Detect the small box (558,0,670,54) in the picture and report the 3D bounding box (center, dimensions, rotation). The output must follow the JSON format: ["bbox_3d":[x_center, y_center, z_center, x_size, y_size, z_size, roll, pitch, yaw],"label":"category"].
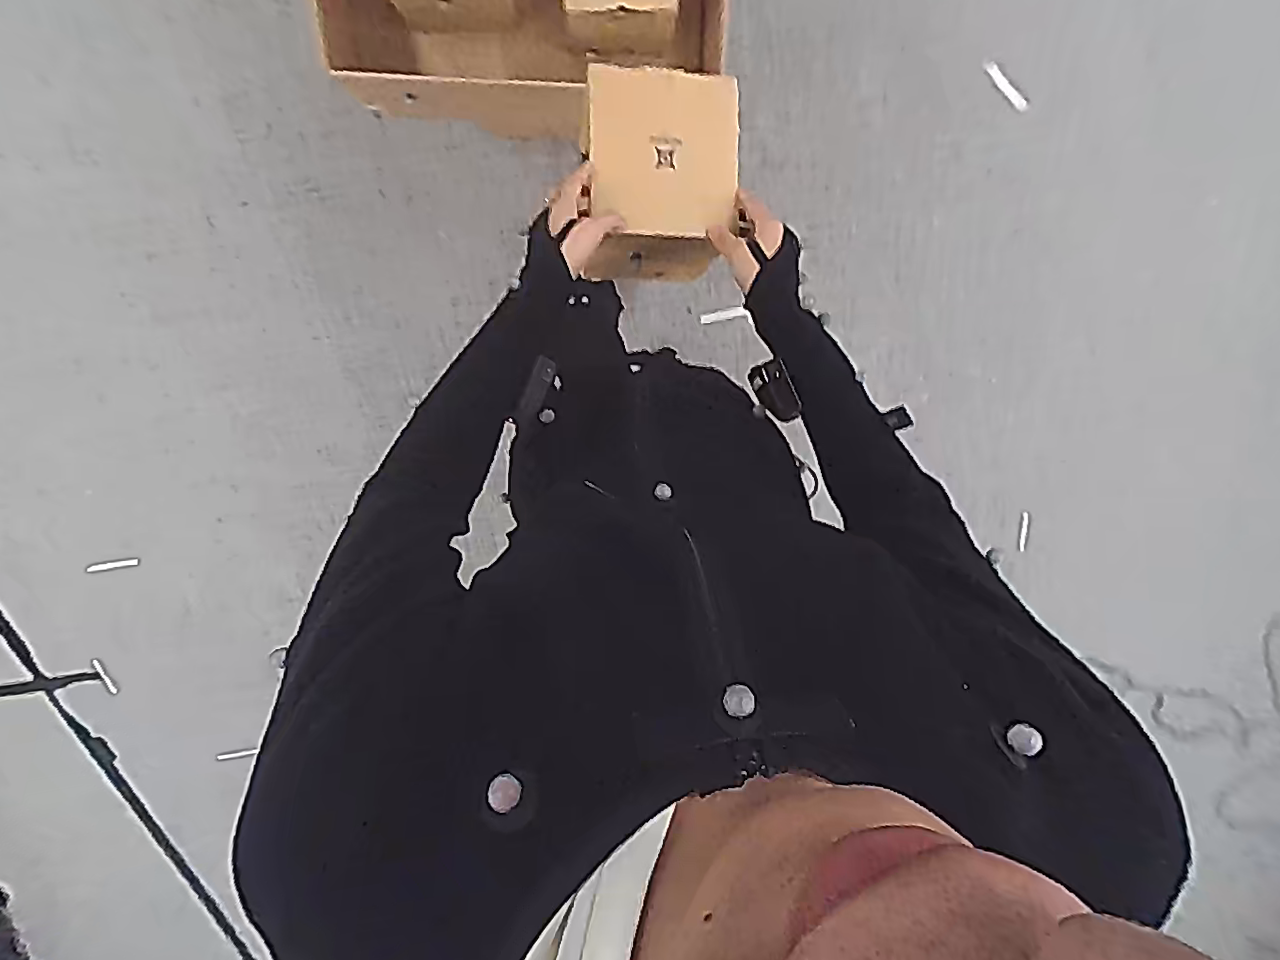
[{"bbox_3d":[-0.043,-0.785,0.830,0.168,0.176,0.179,-3,110,-3],"label":"small box"}]

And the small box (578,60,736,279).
[{"bbox_3d":[0.012,-0.358,0.660,0.168,0.176,0.179,-2,93,-10],"label":"small box"}]

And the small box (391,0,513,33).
[{"bbox_3d":[-0.297,-0.797,0.804,0.179,0.176,0.168,-4,112,-4],"label":"small box"}]
